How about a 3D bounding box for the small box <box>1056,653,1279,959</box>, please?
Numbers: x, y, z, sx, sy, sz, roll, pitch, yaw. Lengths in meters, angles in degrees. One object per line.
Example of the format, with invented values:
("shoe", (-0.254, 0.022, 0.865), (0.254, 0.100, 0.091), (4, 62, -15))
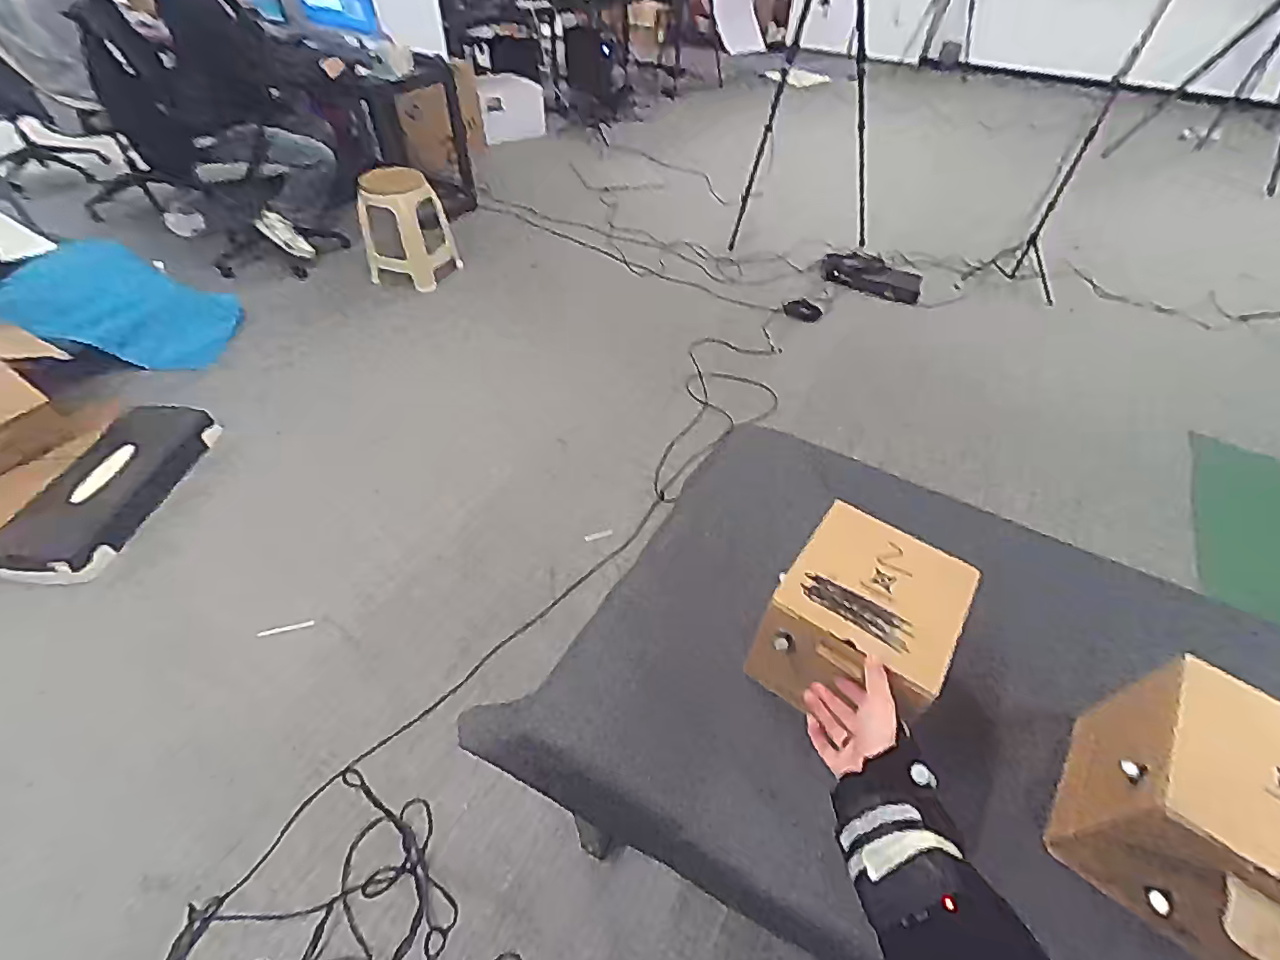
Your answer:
("small box", (0.525, 0.302, 0.490), (0.168, 0.176, 0.179), (33, 53, 25))
